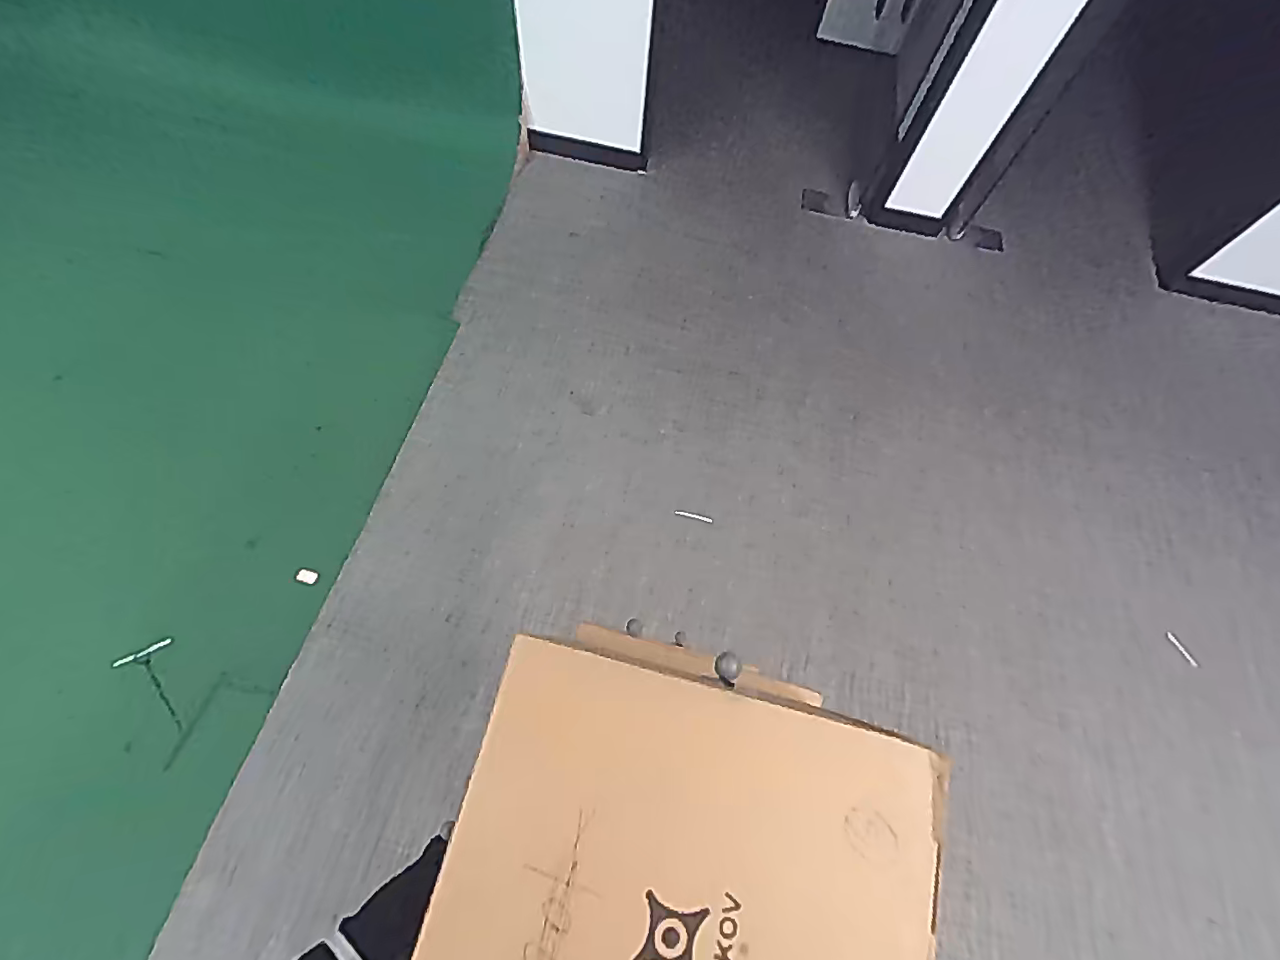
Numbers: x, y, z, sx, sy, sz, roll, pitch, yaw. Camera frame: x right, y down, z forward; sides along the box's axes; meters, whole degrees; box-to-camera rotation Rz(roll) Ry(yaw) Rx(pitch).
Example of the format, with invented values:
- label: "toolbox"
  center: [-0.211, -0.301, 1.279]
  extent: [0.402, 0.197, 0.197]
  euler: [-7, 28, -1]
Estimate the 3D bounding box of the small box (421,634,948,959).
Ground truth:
- label: "small box"
  center: [0.014, 0.180, 0.269]
  extent: [0.179, 0.176, 0.168]
  euler: [15, 73, 4]
